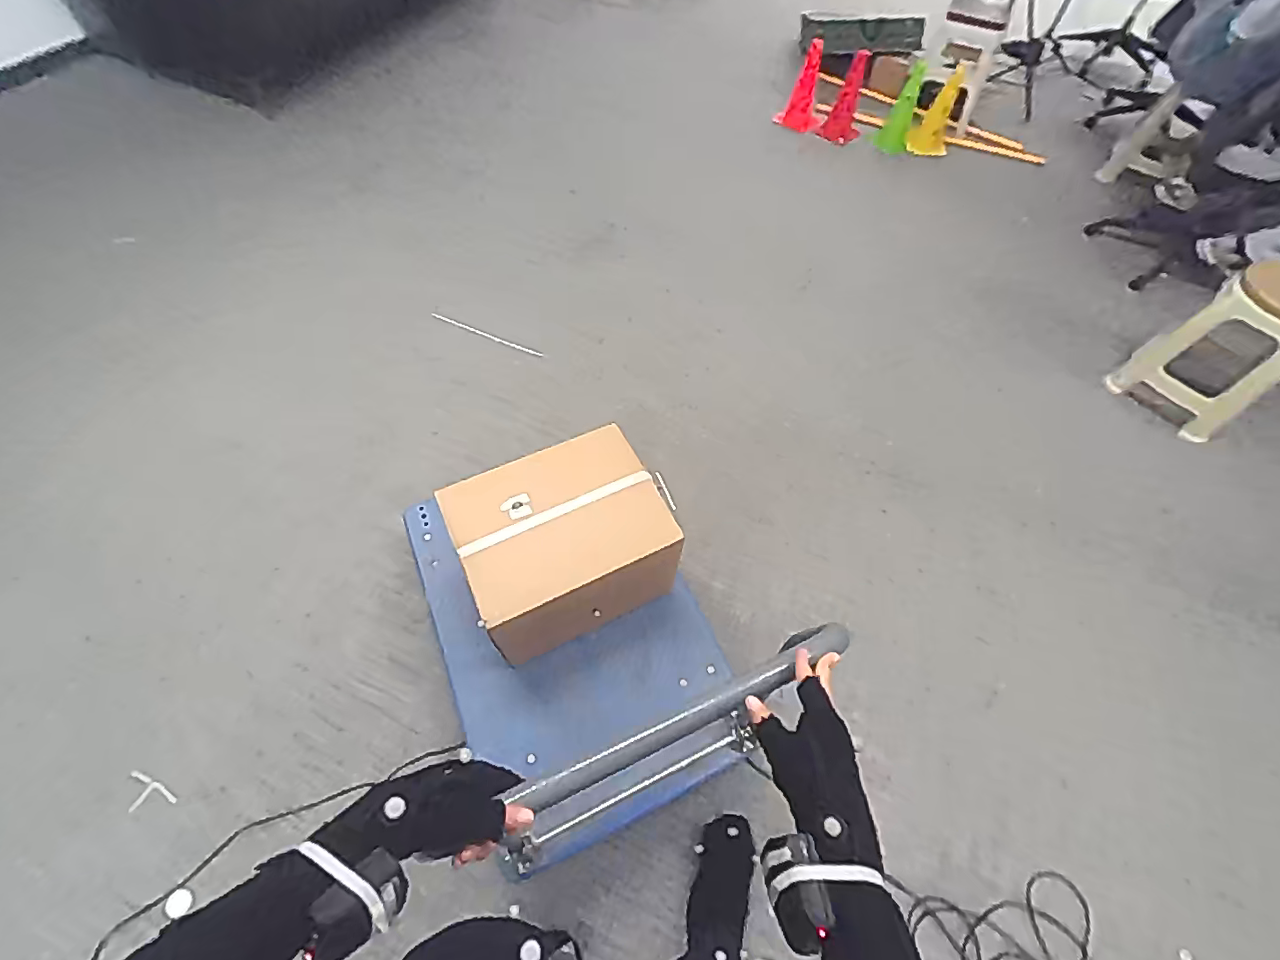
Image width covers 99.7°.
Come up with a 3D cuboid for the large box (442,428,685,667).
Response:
[{"bbox_3d":[-0.158,0.153,1.197,0.408,0.320,0.320,-24,62,-16],"label":"large box"}]
